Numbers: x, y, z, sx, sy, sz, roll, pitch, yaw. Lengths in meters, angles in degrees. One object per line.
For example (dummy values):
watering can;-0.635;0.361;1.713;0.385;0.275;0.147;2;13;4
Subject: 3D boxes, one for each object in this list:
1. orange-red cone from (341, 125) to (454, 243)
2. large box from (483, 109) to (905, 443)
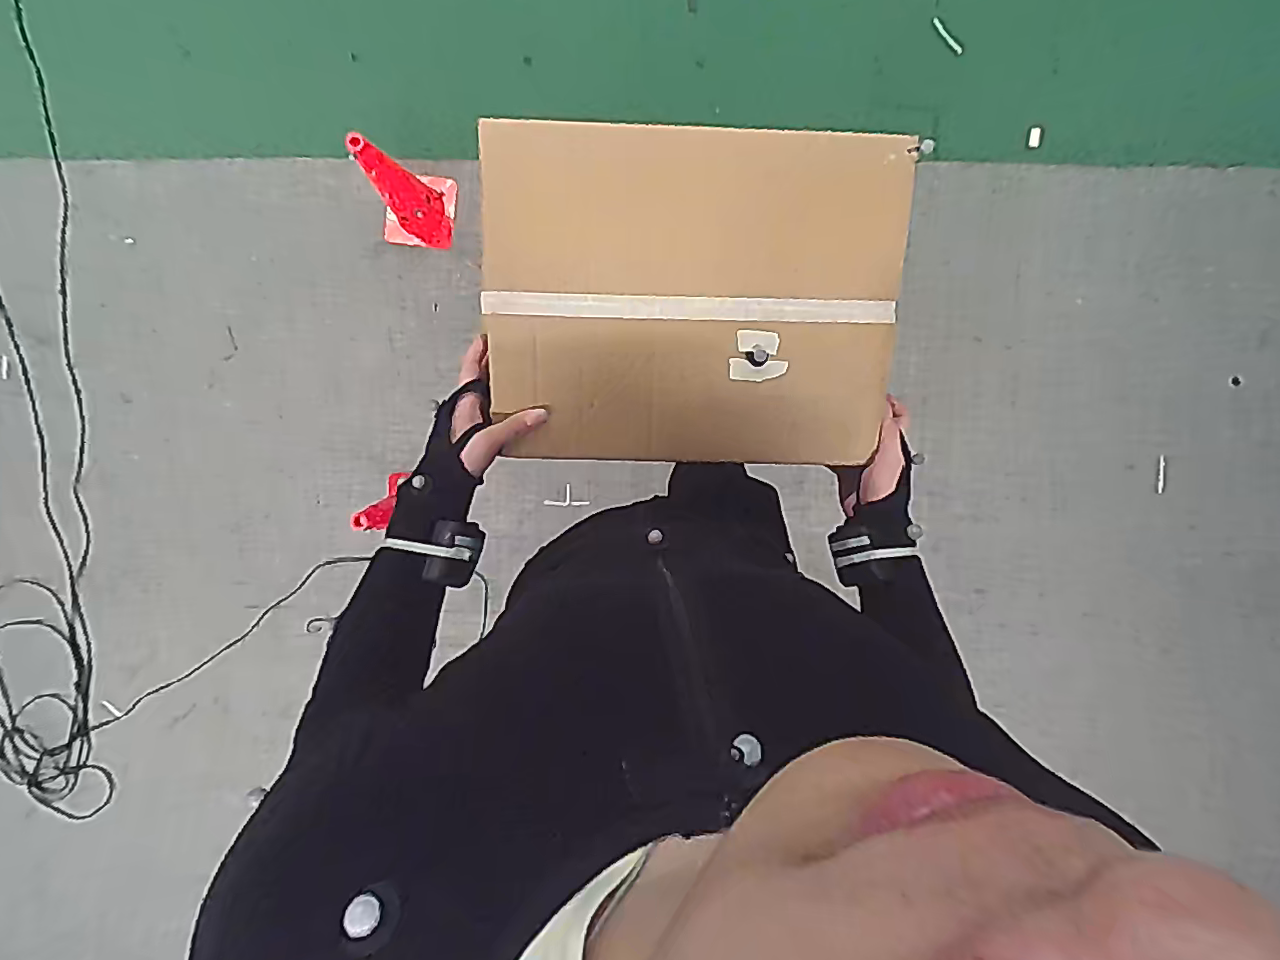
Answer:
orange-red cone;-0.652;-0.786;1.389;0.199;0.360;0.198;9;93;2
large box;0.044;-0.226;0.682;0.408;0.320;0.320;1;105;-3
